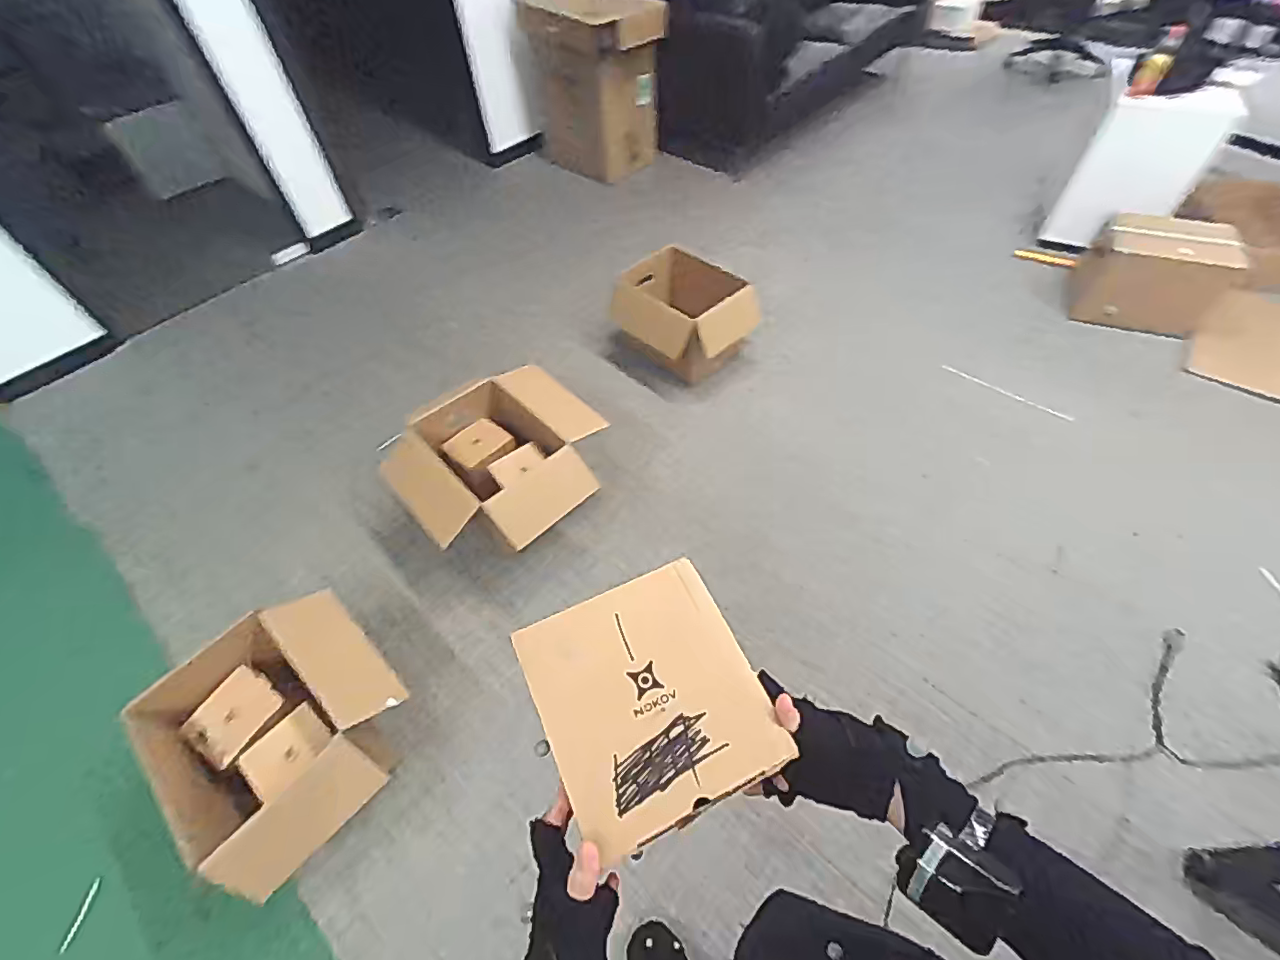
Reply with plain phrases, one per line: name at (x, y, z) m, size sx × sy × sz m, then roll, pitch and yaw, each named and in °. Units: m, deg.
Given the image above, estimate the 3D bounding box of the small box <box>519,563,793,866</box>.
small box at (0.006, 0.208, 0.490) m, size 0.168 × 0.176 × 0.179 m, roll -20°, pitch 61°, yaw -15°
